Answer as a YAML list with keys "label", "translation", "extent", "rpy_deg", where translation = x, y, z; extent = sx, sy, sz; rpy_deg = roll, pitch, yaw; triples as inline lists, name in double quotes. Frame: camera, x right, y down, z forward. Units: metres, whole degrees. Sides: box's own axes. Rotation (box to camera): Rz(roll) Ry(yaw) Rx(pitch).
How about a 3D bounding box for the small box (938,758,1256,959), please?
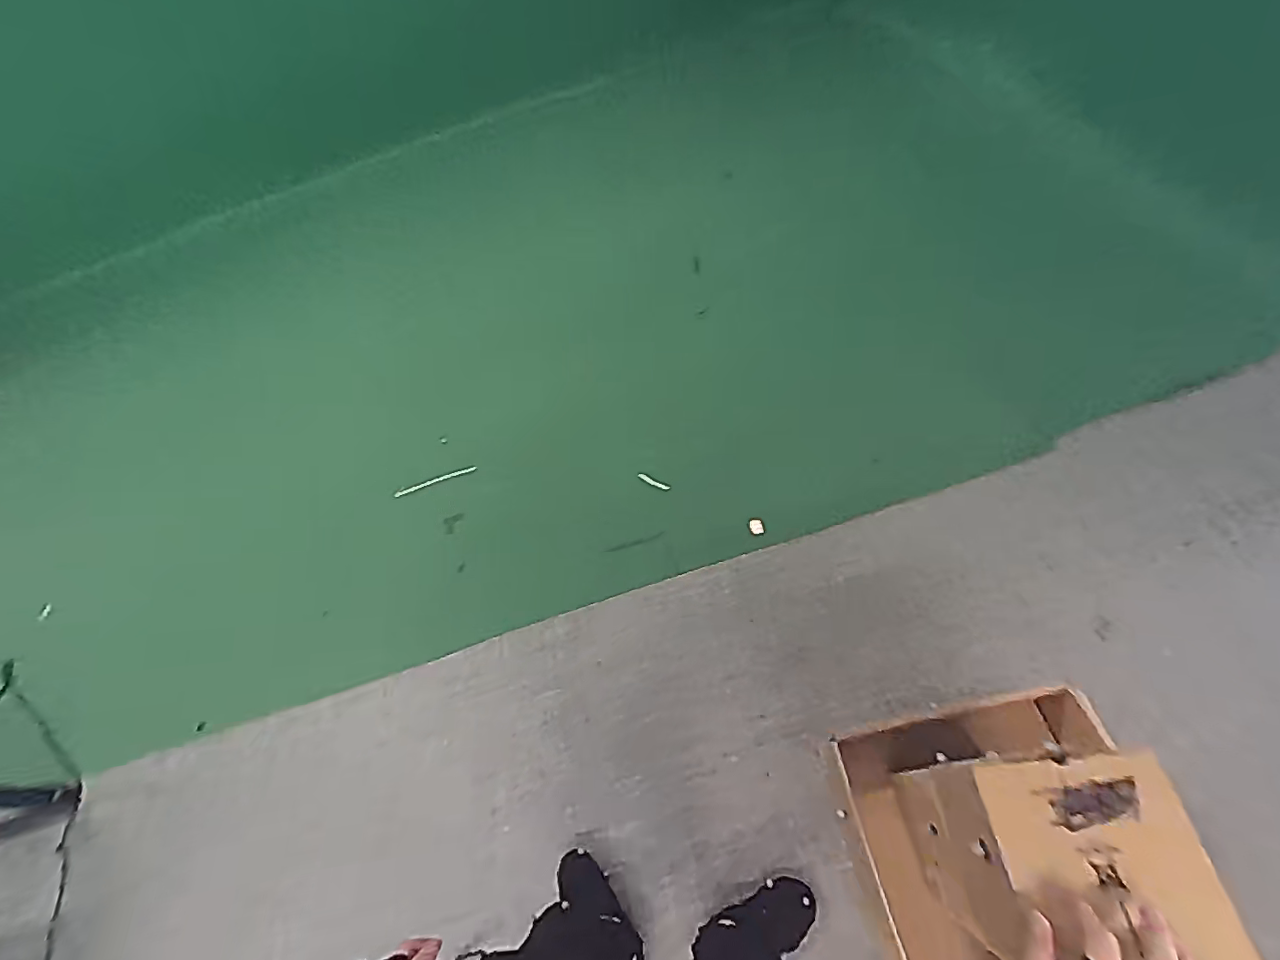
- label: "small box"
  translation: [0.429, 0.389, 0.544]
  extent: [0.168, 0.176, 0.179]
  rpy_deg: [-10, 60, 8]

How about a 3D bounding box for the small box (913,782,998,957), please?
- label: "small box"
  translation: [0.467, 0.470, 0.682]
  extent: [0.179, 0.176, 0.168]
  rpy_deg: [-12, 59, 6]
